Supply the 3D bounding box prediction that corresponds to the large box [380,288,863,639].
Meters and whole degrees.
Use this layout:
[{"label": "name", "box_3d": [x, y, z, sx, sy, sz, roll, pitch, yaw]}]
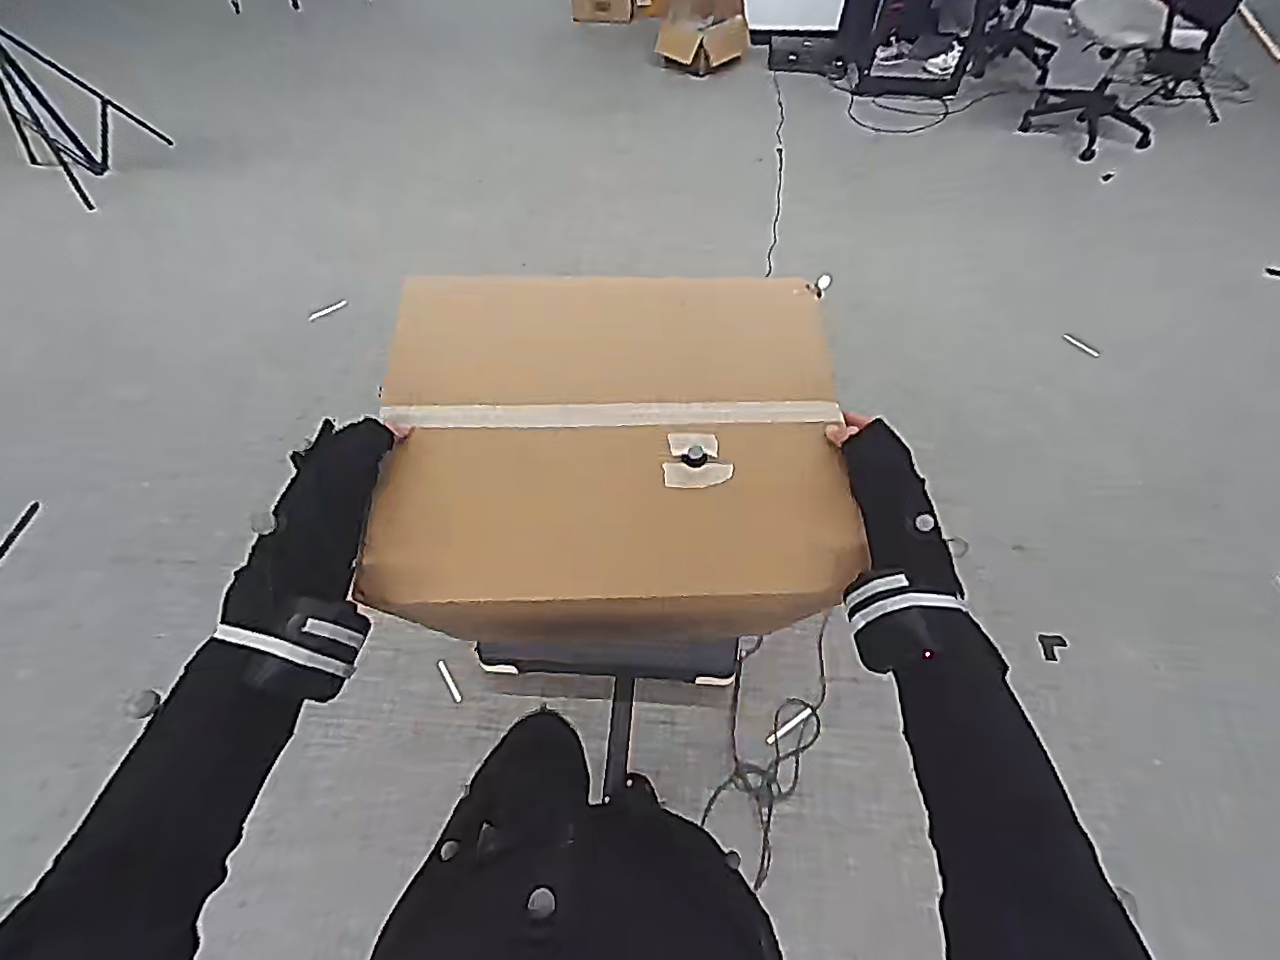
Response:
[{"label": "large box", "box_3d": [-0.025, 0.003, 0.630, 0.408, 0.320, 0.320, -1, 68, -3]}]
